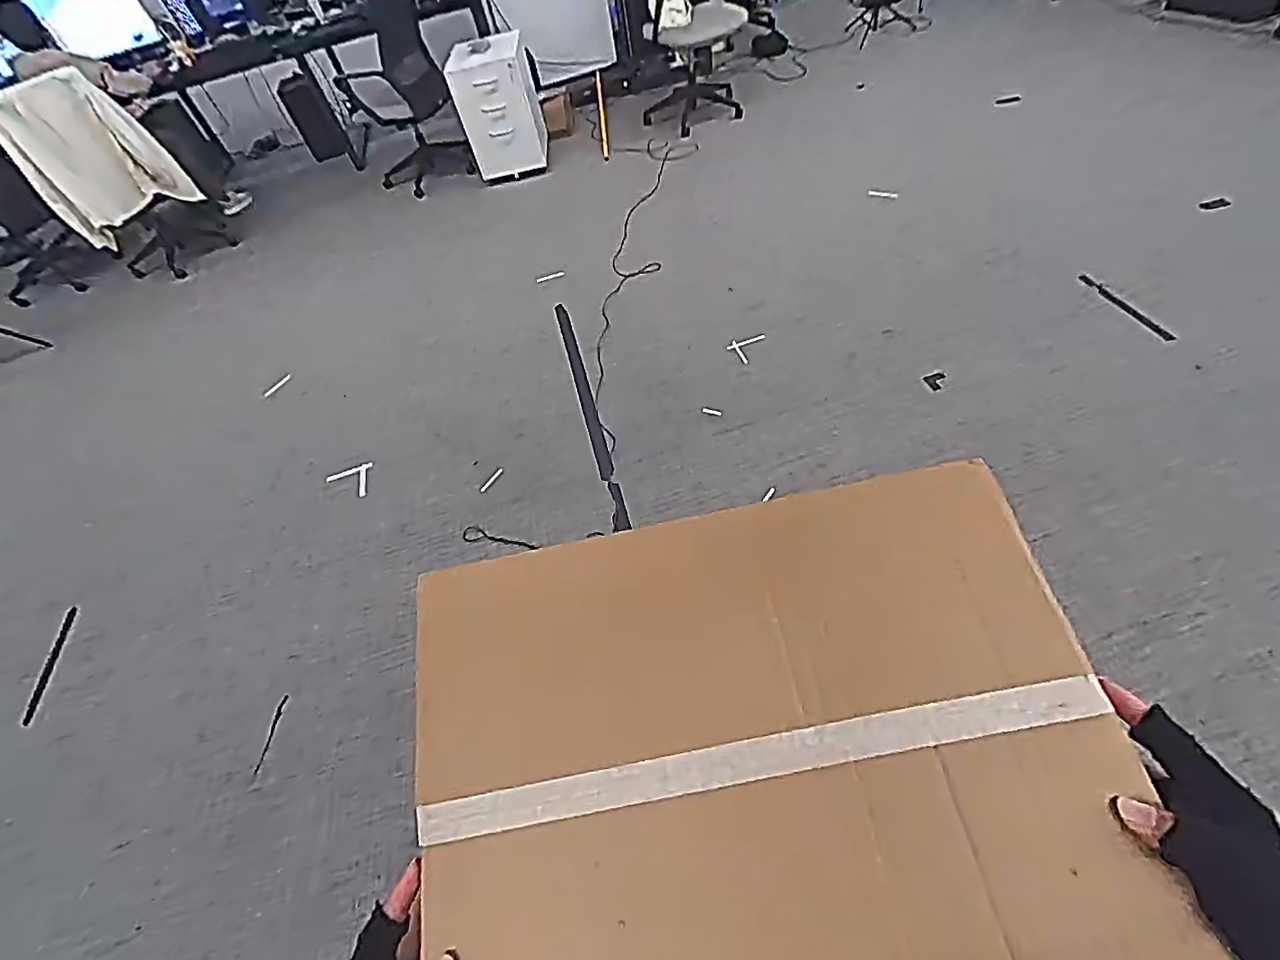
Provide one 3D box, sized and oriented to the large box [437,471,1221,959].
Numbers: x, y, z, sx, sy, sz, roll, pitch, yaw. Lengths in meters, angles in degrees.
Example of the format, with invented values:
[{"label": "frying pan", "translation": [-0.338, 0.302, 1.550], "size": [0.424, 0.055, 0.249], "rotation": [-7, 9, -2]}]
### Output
[{"label": "large box", "translation": [0.088, 0.234, 0.461], "size": [0.408, 0.320, 0.320], "rotation": [-13, 65, 3]}]
